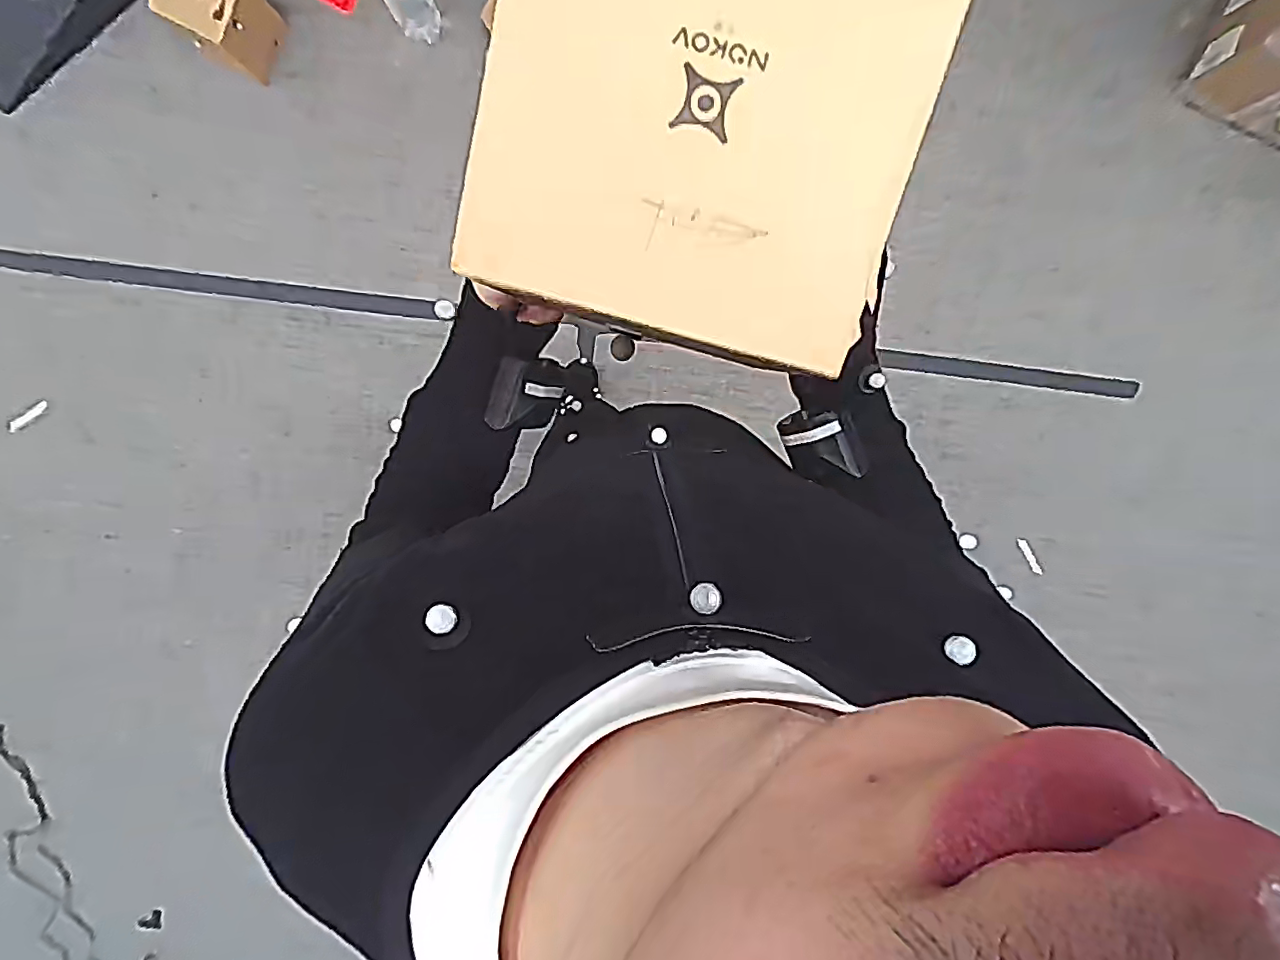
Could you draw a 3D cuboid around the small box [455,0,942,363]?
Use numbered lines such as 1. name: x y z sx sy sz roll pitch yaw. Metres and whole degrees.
1. small box: 0.023 -0.171 0.293 0.168 0.176 0.179 15 101 -3
